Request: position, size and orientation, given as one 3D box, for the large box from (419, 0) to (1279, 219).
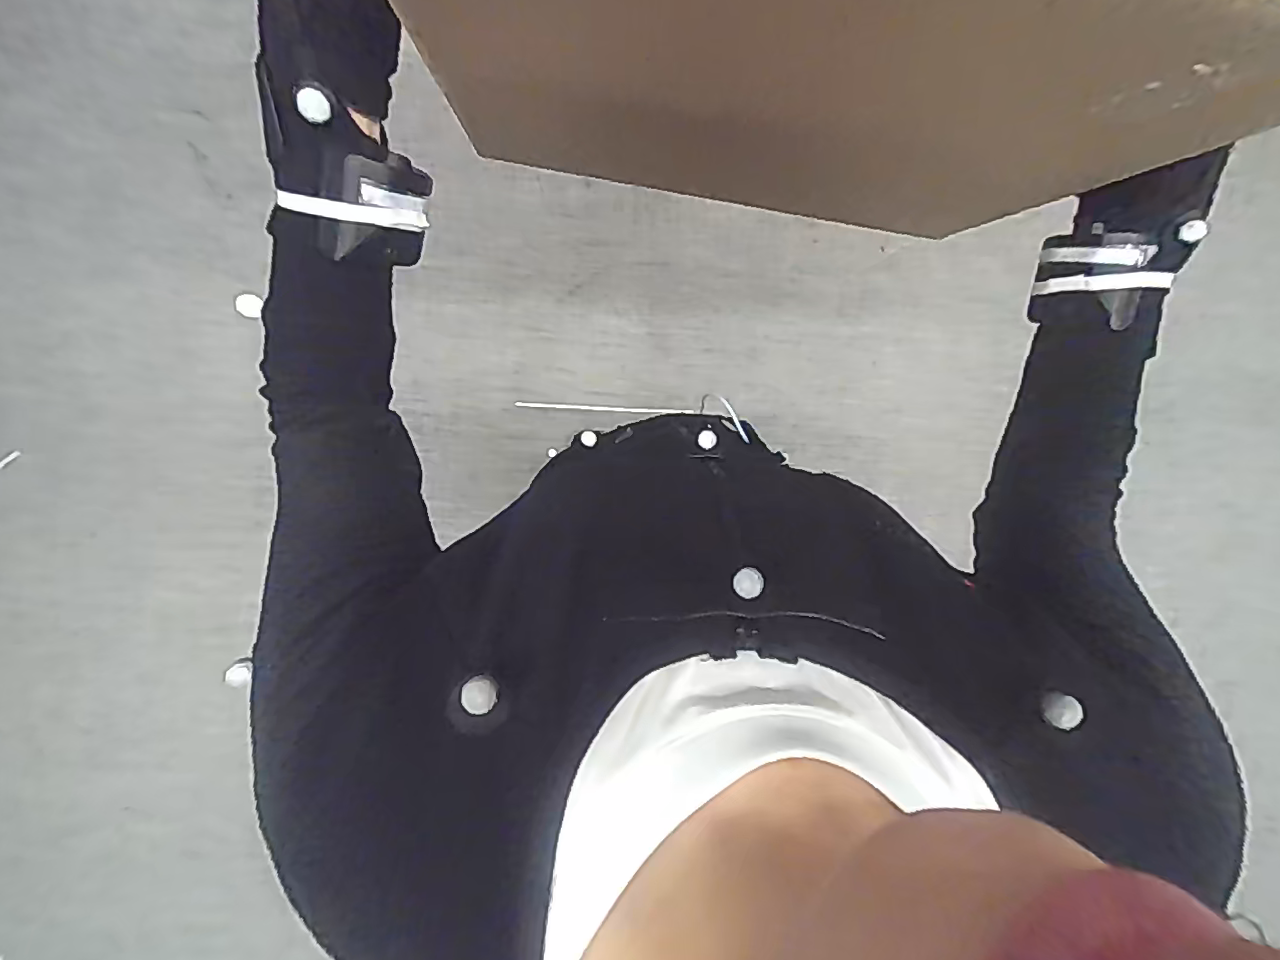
[{"bbox_3d":[0.103,-0.358,0.275,0.408,0.320,0.320,7,104,-7],"label":"large box"}]
